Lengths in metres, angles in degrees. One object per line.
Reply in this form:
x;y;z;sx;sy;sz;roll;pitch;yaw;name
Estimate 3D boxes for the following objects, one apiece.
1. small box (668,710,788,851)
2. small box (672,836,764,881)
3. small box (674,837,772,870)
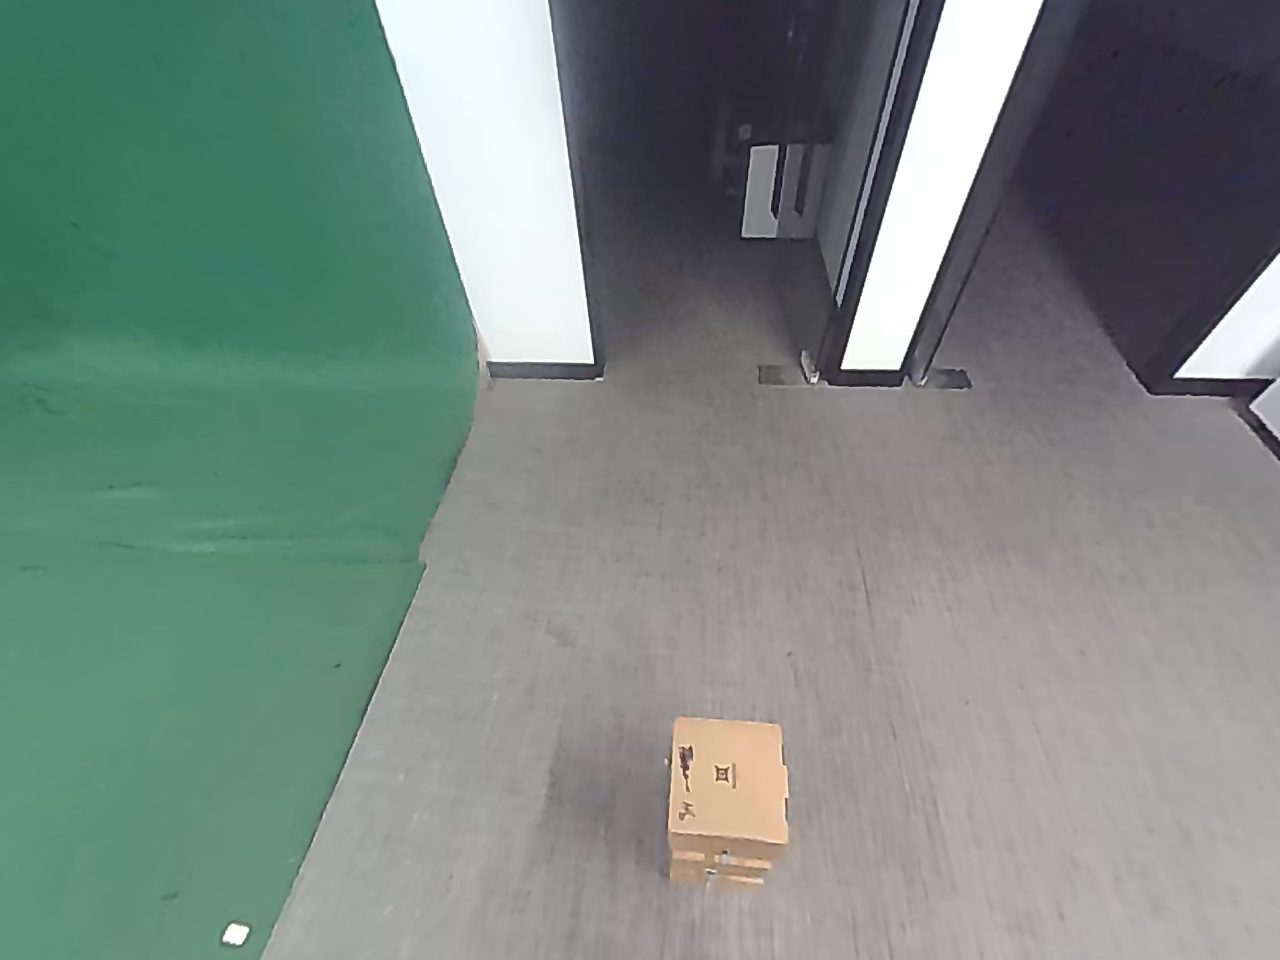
0.142;0.500;0.896;0.179;0.176;0.168;3;49;8;small box
0.163;0.723;1.133;0.179;0.176;0.168;4;50;8;small box
0.154;0.611;1.016;0.168;0.176;0.179;2;51;8;small box
